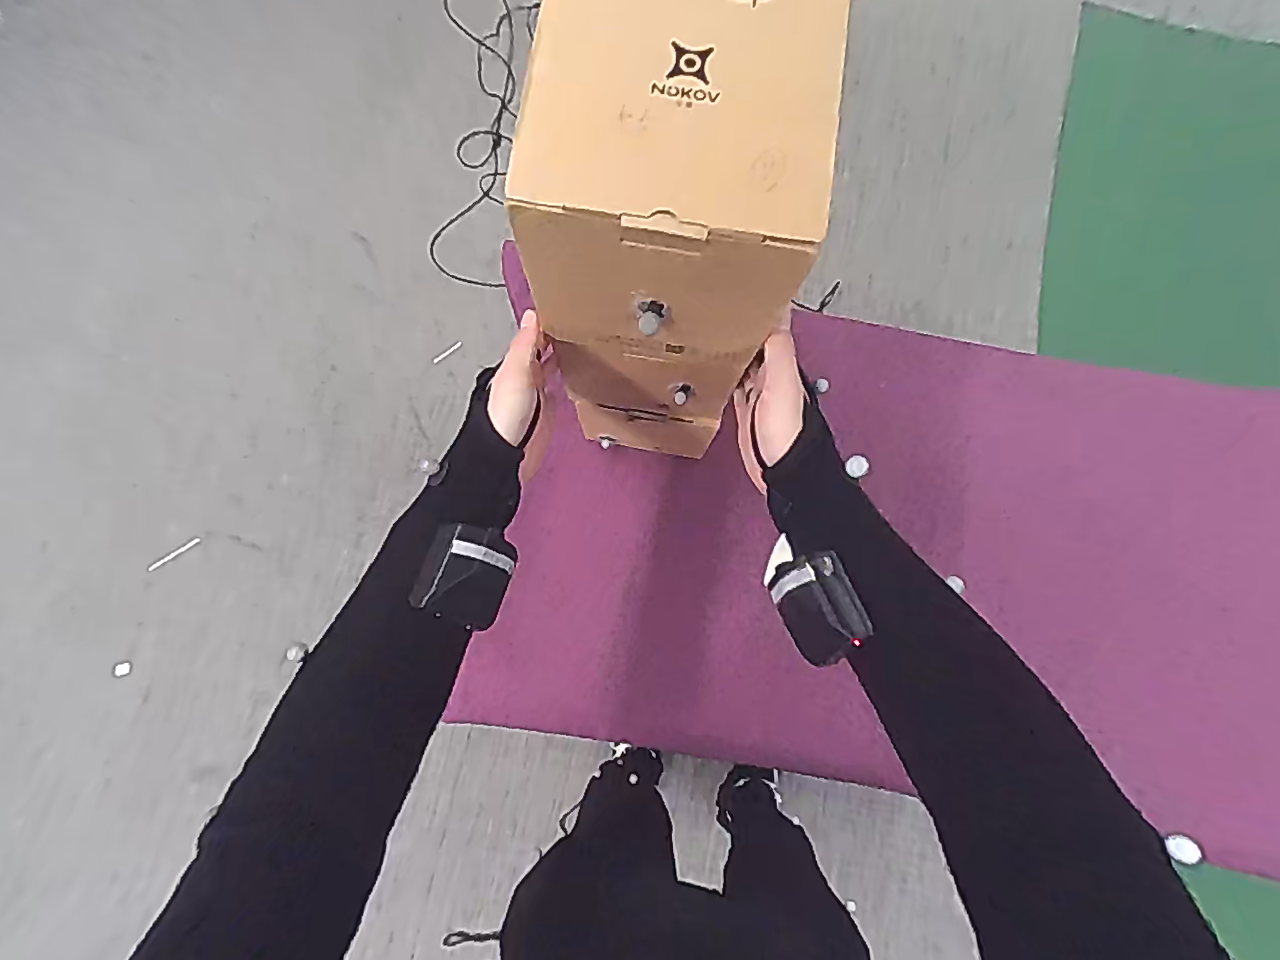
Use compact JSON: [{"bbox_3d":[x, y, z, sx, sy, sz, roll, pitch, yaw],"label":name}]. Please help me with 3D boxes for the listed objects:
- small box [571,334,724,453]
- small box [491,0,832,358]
[{"bbox_3d":[0.016,-0.143,0.689,0.168,0.176,0.179,9,79,1],"label":"small box"},{"bbox_3d":[0.014,-0.199,0.367,0.168,0.176,0.179,8,81,0],"label":"small box"}]
